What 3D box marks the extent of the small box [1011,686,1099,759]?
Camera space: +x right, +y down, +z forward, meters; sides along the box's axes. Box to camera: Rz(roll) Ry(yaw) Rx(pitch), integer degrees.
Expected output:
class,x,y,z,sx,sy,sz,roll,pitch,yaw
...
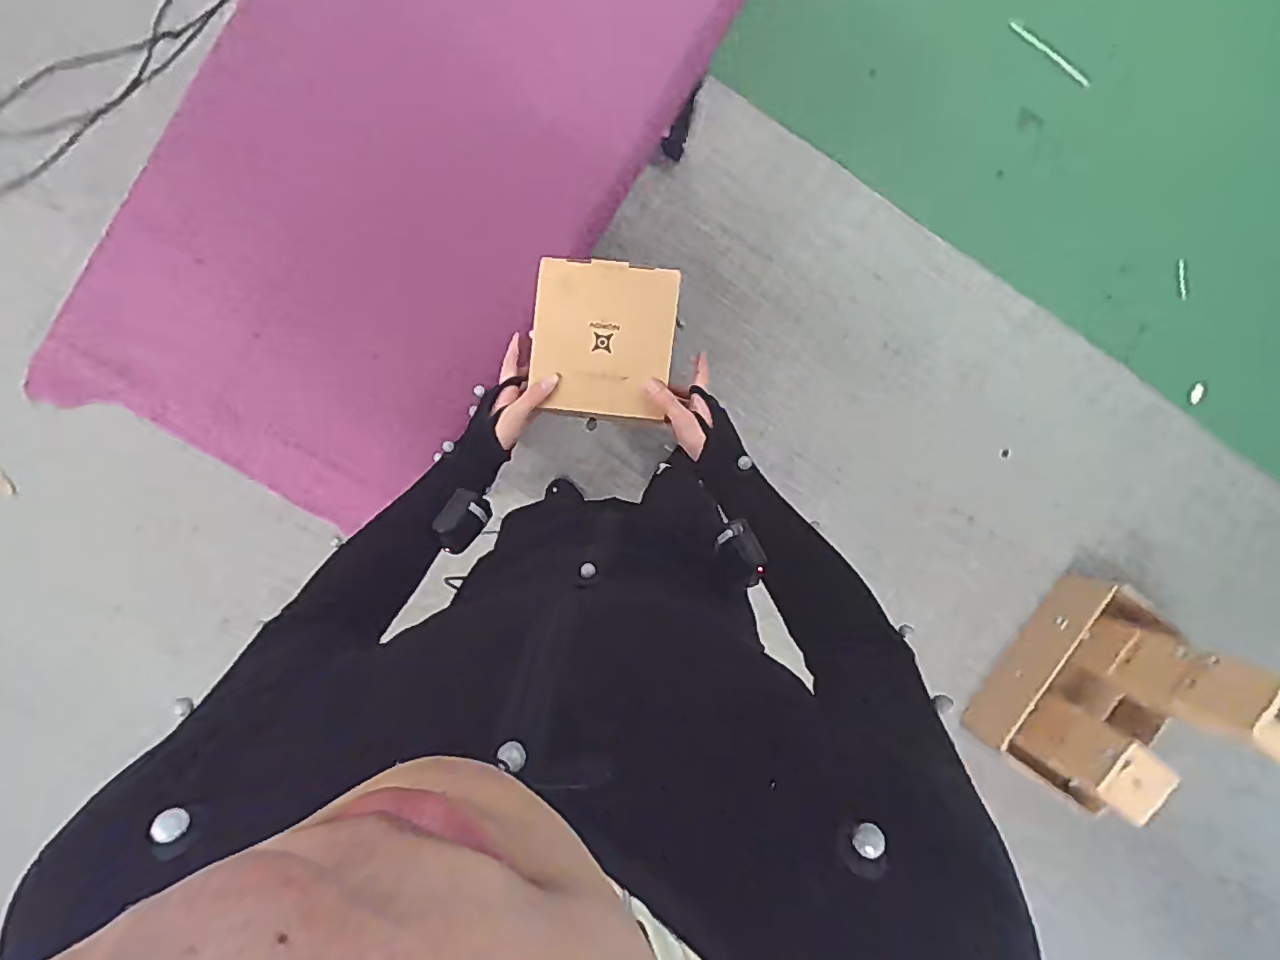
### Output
class,x,y,z,sx,sy,sz,roll,pitch,yaw
small box,1.283,0.757,1.627,0.179,0.176,0.168,36,90,-5

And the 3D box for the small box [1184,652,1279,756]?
class,x,y,z,sx,sy,sz,roll,pitch,yaw
small box,1.490,0.539,1.300,0.179,0.176,0.168,35,91,-7

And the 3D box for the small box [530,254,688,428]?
class,x,y,z,sx,sy,sz,roll,pitch,yaw
small box,-0.035,-0.167,0.700,0.168,0.176,0.179,7,94,2

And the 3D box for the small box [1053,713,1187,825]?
class,x,y,z,sx,sy,sz,roll,pitch,yaw
small box,1.289,0.772,1.464,0.179,0.176,0.168,38,90,-6

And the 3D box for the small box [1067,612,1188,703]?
class,x,y,z,sx,sy,sz,roll,pitch,yaw
small box,1.458,0.525,1.626,0.179,0.176,0.168,36,90,-7
